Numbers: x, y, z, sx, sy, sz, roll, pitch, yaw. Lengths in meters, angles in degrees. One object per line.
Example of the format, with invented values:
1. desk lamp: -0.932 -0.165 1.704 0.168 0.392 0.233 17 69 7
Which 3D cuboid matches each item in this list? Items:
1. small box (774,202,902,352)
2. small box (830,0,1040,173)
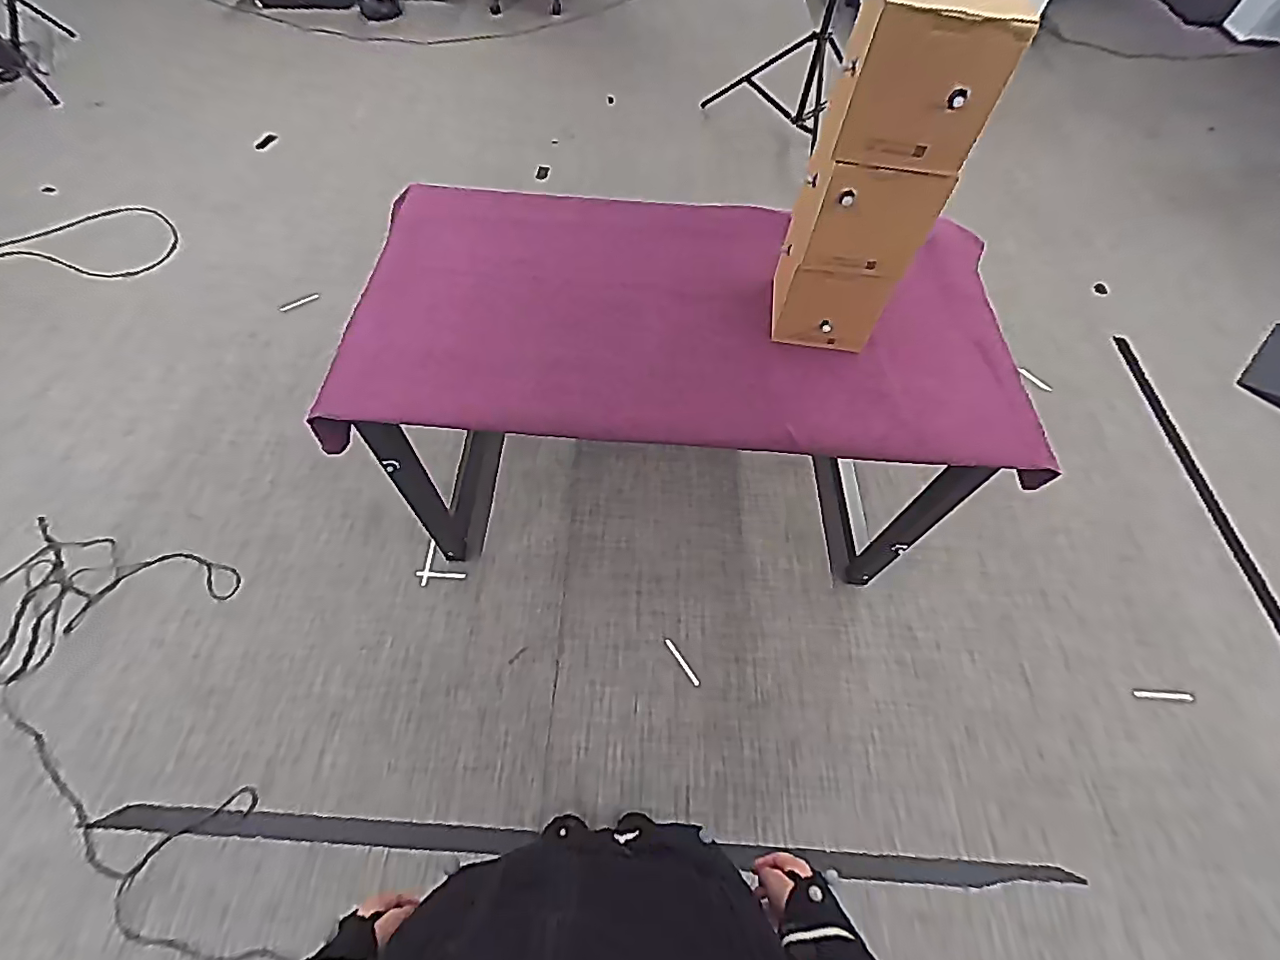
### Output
1. small box: 0.341 -0.358 0.963 0.168 0.176 0.179 8 60 3
2. small box: 0.349 -0.518 0.679 0.168 0.176 0.179 10 58 2
